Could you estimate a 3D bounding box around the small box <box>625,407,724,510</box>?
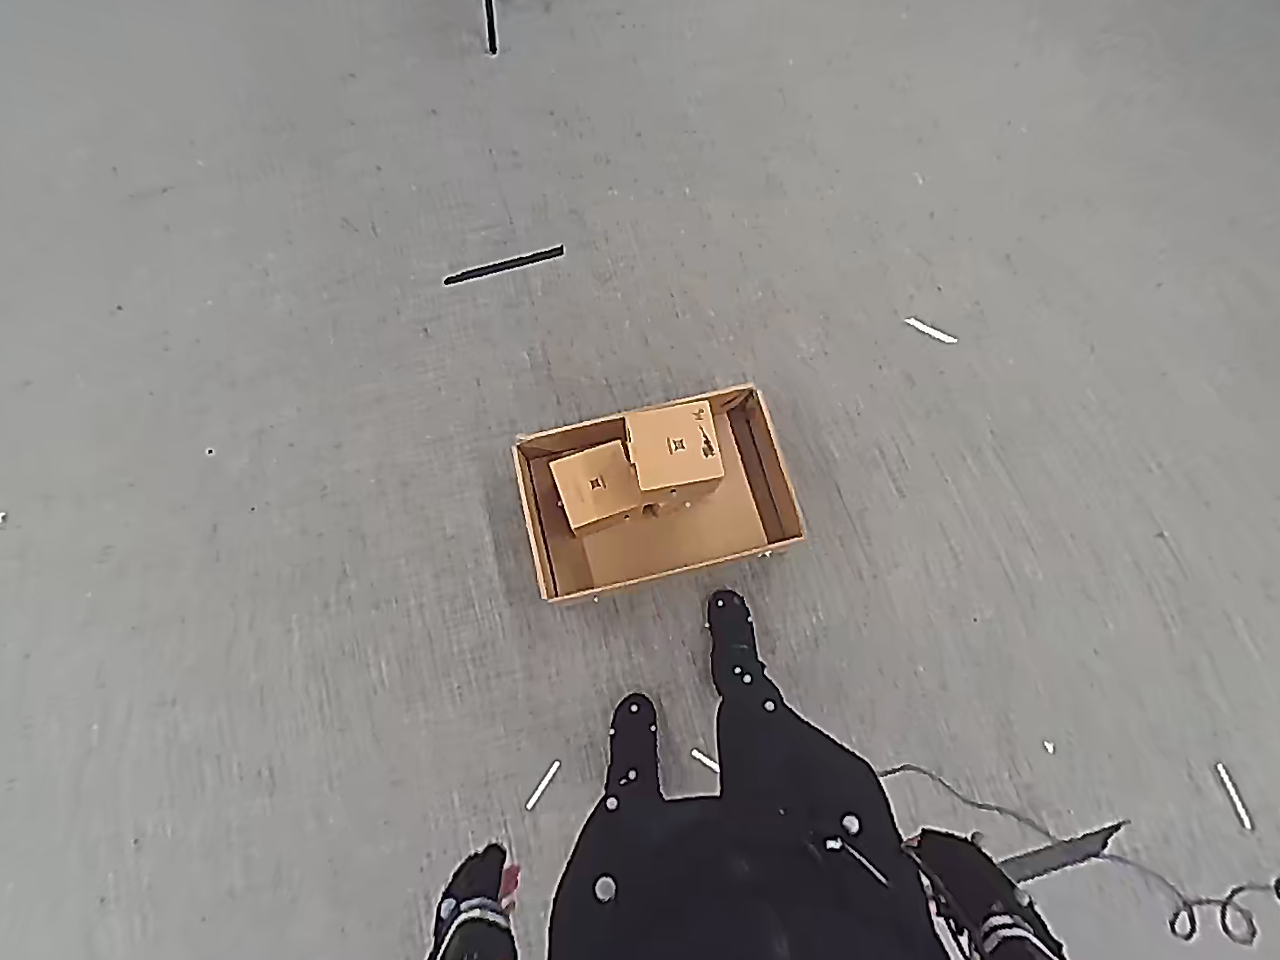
[{"bbox_3d":[0.071,-0.039,1.164,0.179,0.176,0.168,-11,77,-1],"label":"small box"}]
